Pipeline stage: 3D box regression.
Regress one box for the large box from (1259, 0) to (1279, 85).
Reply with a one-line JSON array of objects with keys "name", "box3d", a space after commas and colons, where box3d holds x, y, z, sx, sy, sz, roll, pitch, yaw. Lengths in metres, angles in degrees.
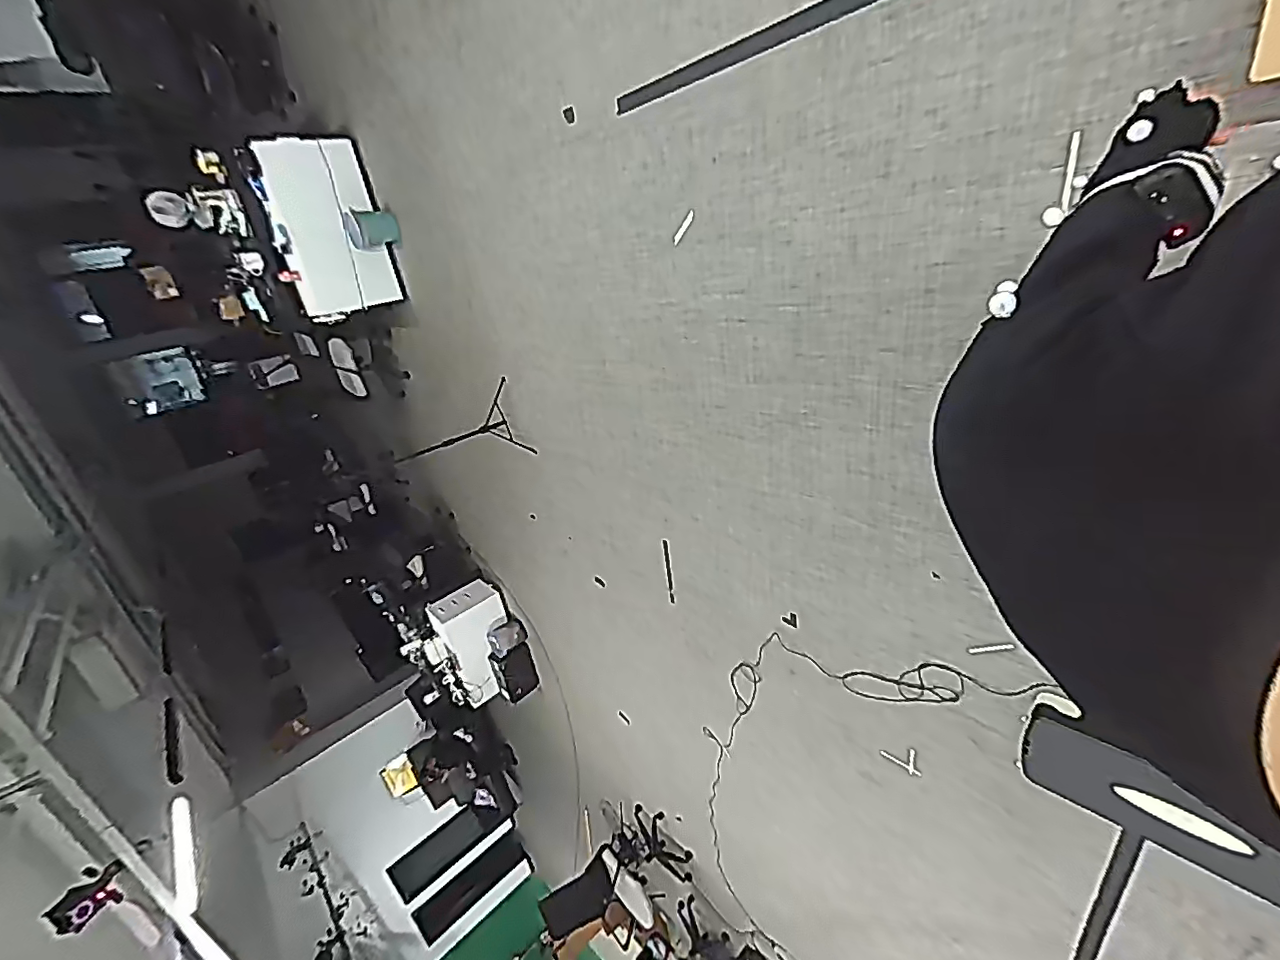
[{"name": "large box", "box3d": [1.020, -0.690, 0.596, 0.408, 0.320, 0.320, 15, 125, 45]}]
